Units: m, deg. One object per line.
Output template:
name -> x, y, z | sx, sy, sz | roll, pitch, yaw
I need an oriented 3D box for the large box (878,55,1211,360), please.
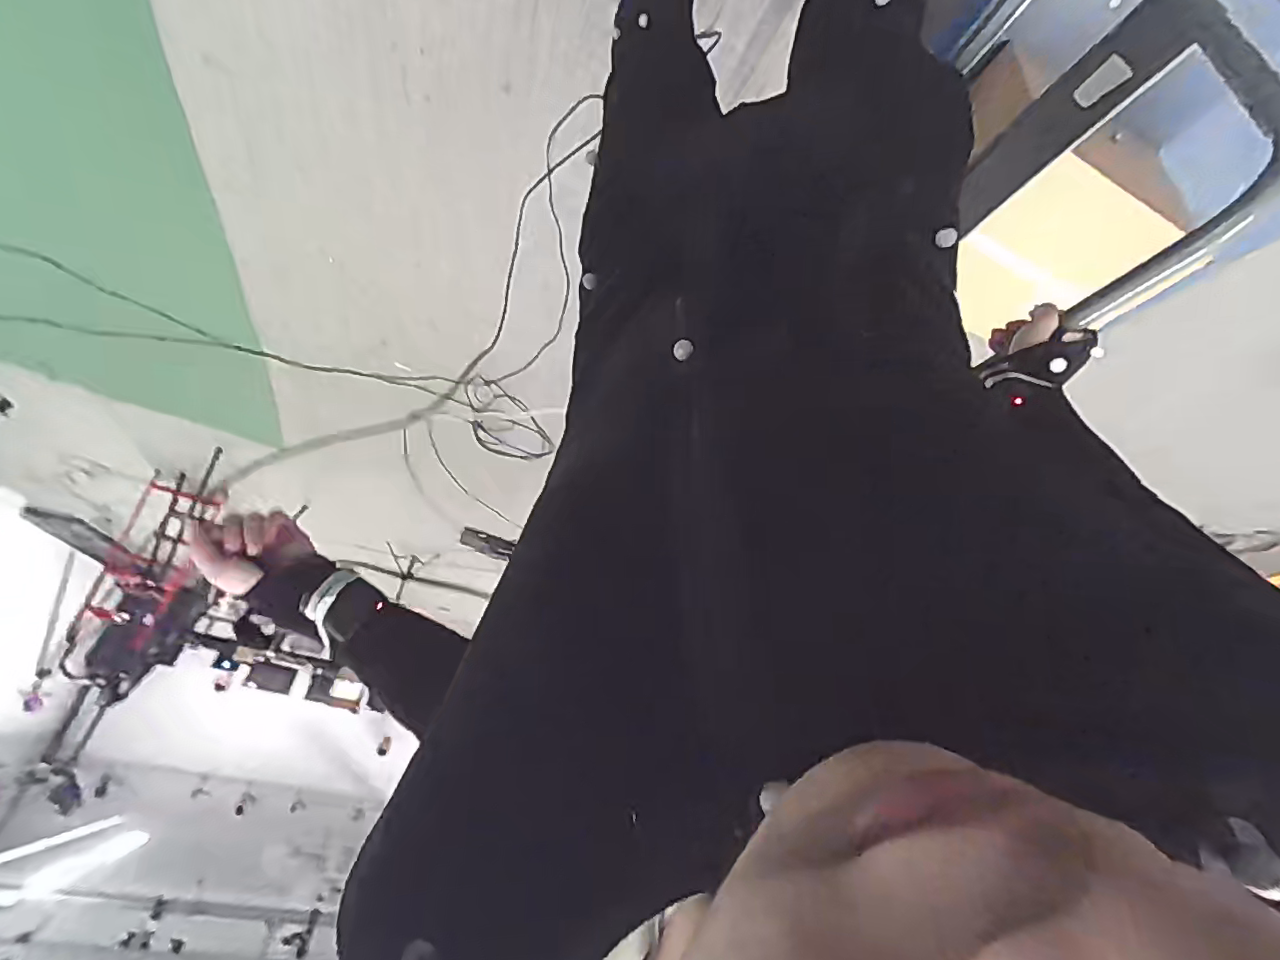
large box -> 0.740, -0.506, 1.051 | 0.408, 0.320, 0.320 | 19, 150, -16
